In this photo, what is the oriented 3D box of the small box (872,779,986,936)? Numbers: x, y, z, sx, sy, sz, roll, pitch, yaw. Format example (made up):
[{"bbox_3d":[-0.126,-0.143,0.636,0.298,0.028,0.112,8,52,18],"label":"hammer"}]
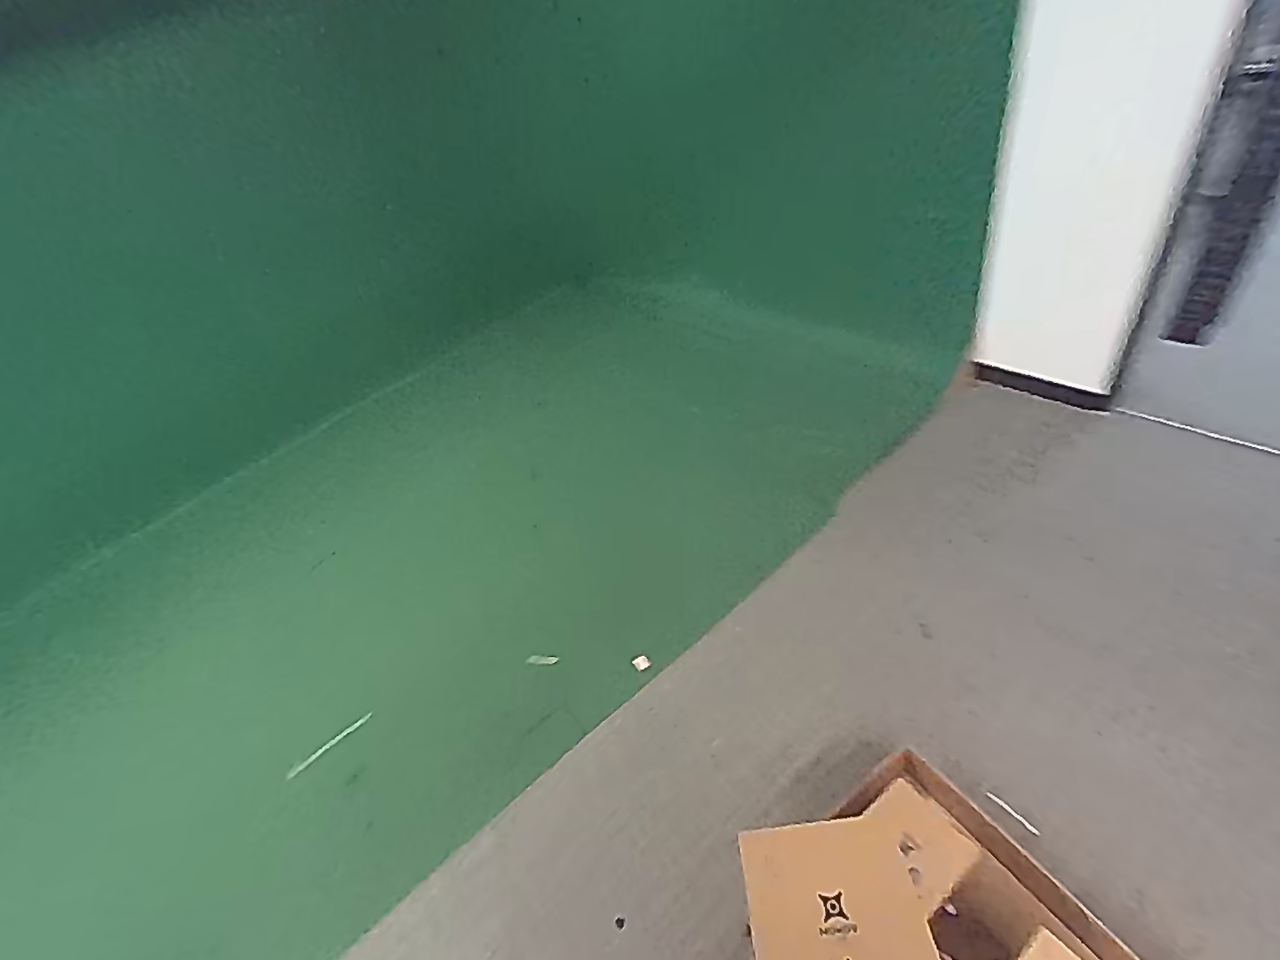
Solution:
[{"bbox_3d":[0.513,0.721,1.026,0.179,0.176,0.168,-34,41,-16],"label":"small box"}]

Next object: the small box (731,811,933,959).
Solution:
[{"bbox_3d":[0.197,0.482,0.558,0.168,0.176,0.179,-13,32,7],"label":"small box"}]
